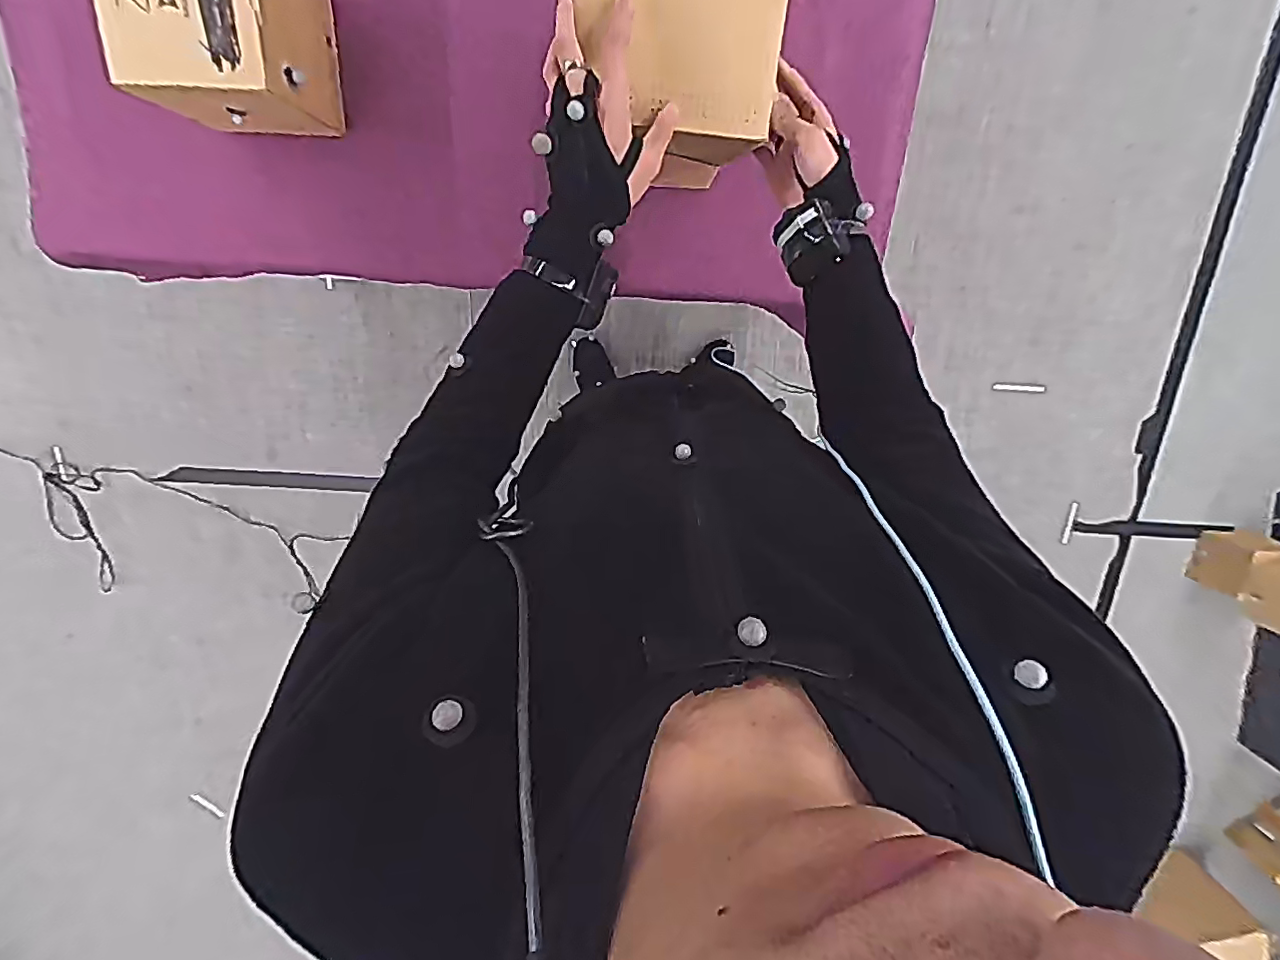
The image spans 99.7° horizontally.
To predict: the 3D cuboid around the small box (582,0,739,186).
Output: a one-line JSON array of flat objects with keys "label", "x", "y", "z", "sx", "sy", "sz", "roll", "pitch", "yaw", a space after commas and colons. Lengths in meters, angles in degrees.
[{"label": "small box", "x": 0.021, "y": -0.481, "z": 0.672, "sx": 0.168, "sy": 0.176, "sz": 0.179, "roll": 3, "pitch": 107, "yaw": -2}]
